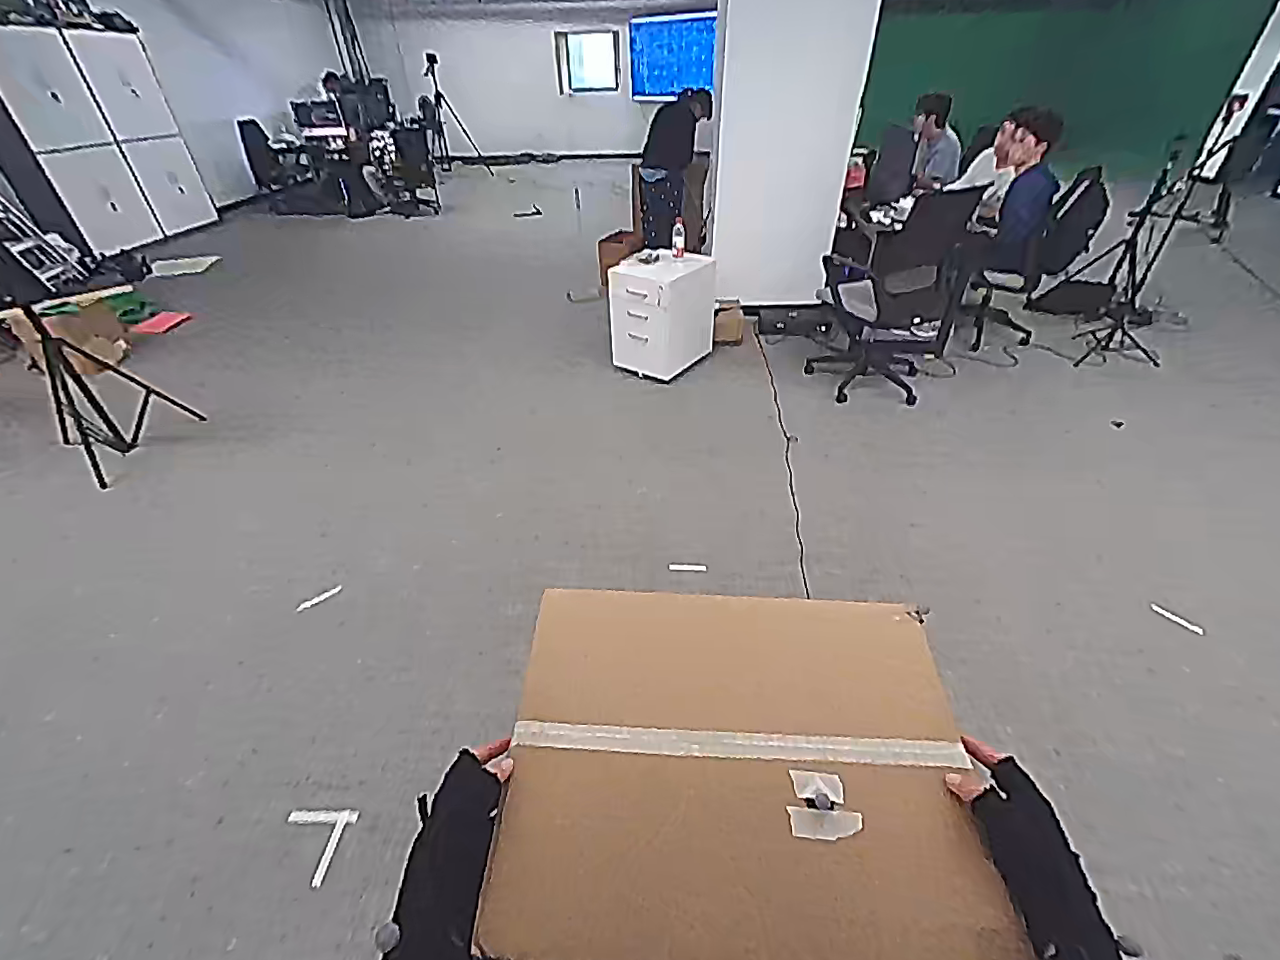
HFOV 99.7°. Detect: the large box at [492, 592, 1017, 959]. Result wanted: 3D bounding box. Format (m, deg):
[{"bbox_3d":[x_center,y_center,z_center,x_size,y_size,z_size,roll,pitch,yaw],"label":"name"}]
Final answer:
[{"bbox_3d":[0.089,0.347,0.613,0.408,0.320,0.320,2,46,3],"label":"large box"}]
